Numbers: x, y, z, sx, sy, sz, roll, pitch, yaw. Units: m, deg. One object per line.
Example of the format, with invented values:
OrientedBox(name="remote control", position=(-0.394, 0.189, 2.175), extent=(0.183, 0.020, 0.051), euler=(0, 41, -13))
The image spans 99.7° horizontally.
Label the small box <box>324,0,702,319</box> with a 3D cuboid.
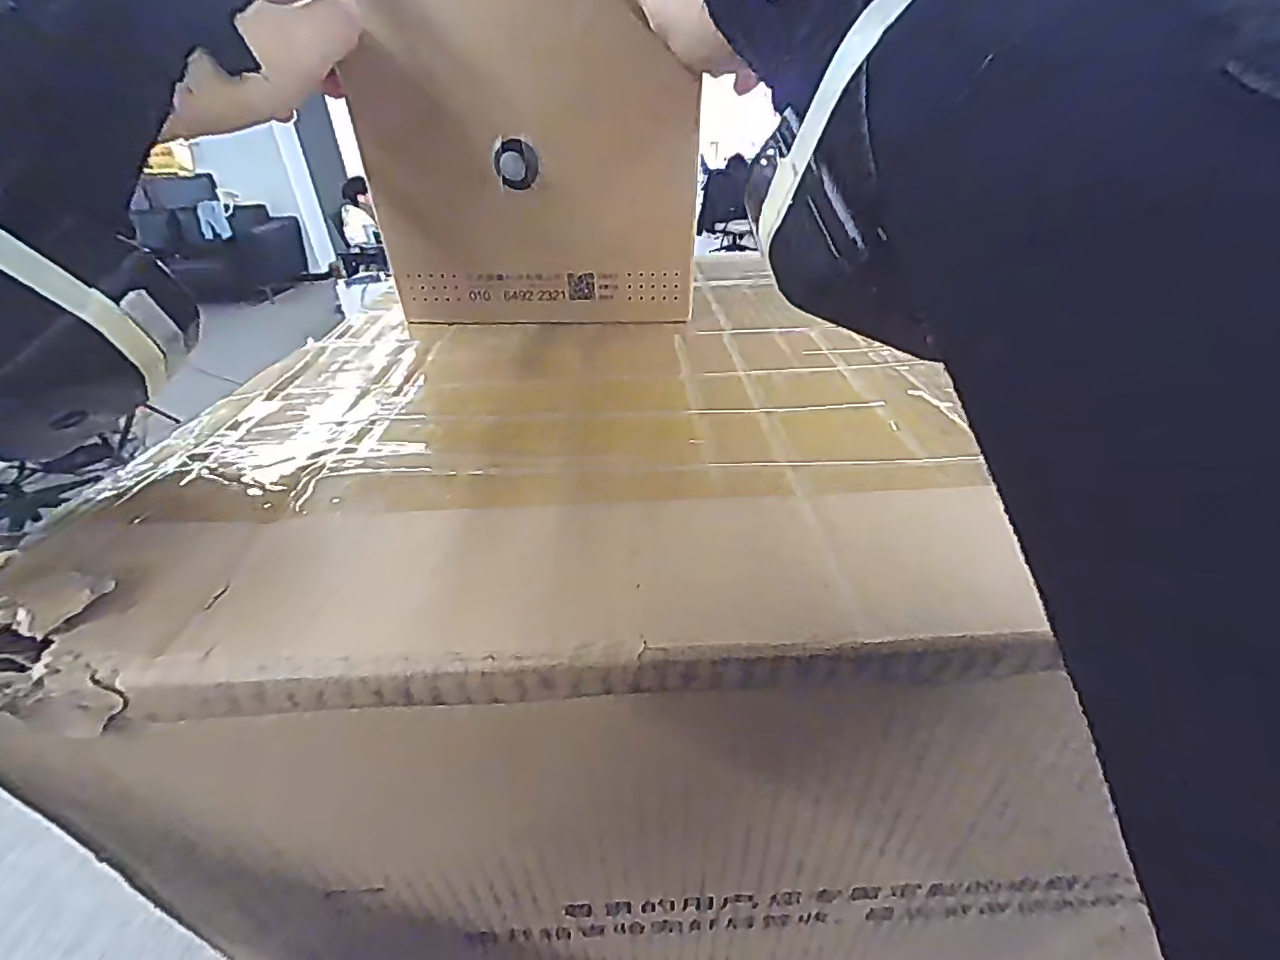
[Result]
OrientedBox(name="small box", position=(-0.049, -0.206, 0.330), extent=(0.168, 0.176, 0.179), euler=(1, 36, 1))
